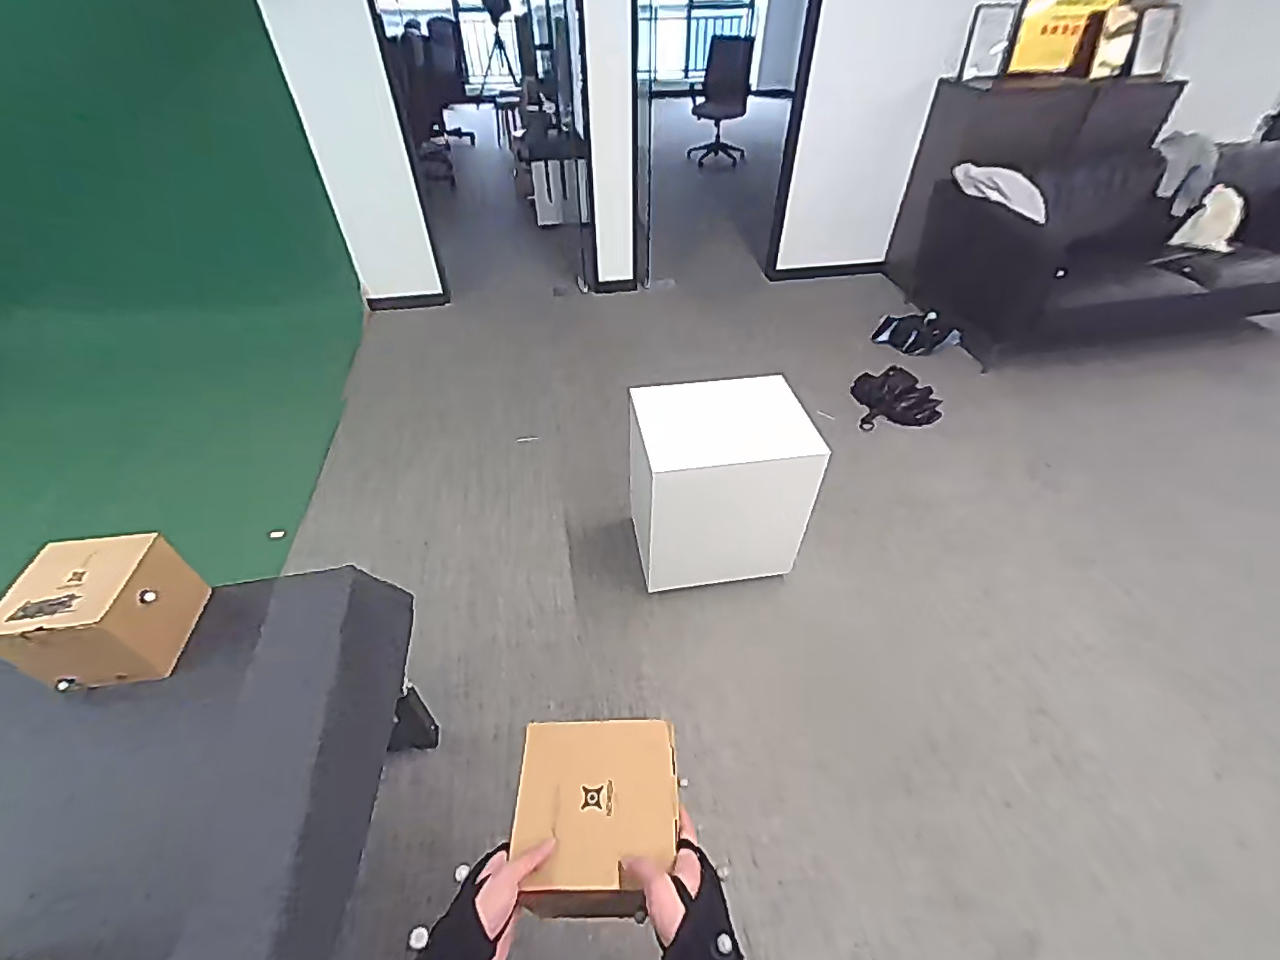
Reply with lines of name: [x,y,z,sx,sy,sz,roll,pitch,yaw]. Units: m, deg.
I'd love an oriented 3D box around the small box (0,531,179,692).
small box: [-0.860,0.203,0.821,0.168,0.176,0.179,-4,43,-9]

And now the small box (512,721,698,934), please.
small box: [-0.033,0.395,0.616,0.179,0.176,0.168,-4,42,0]
